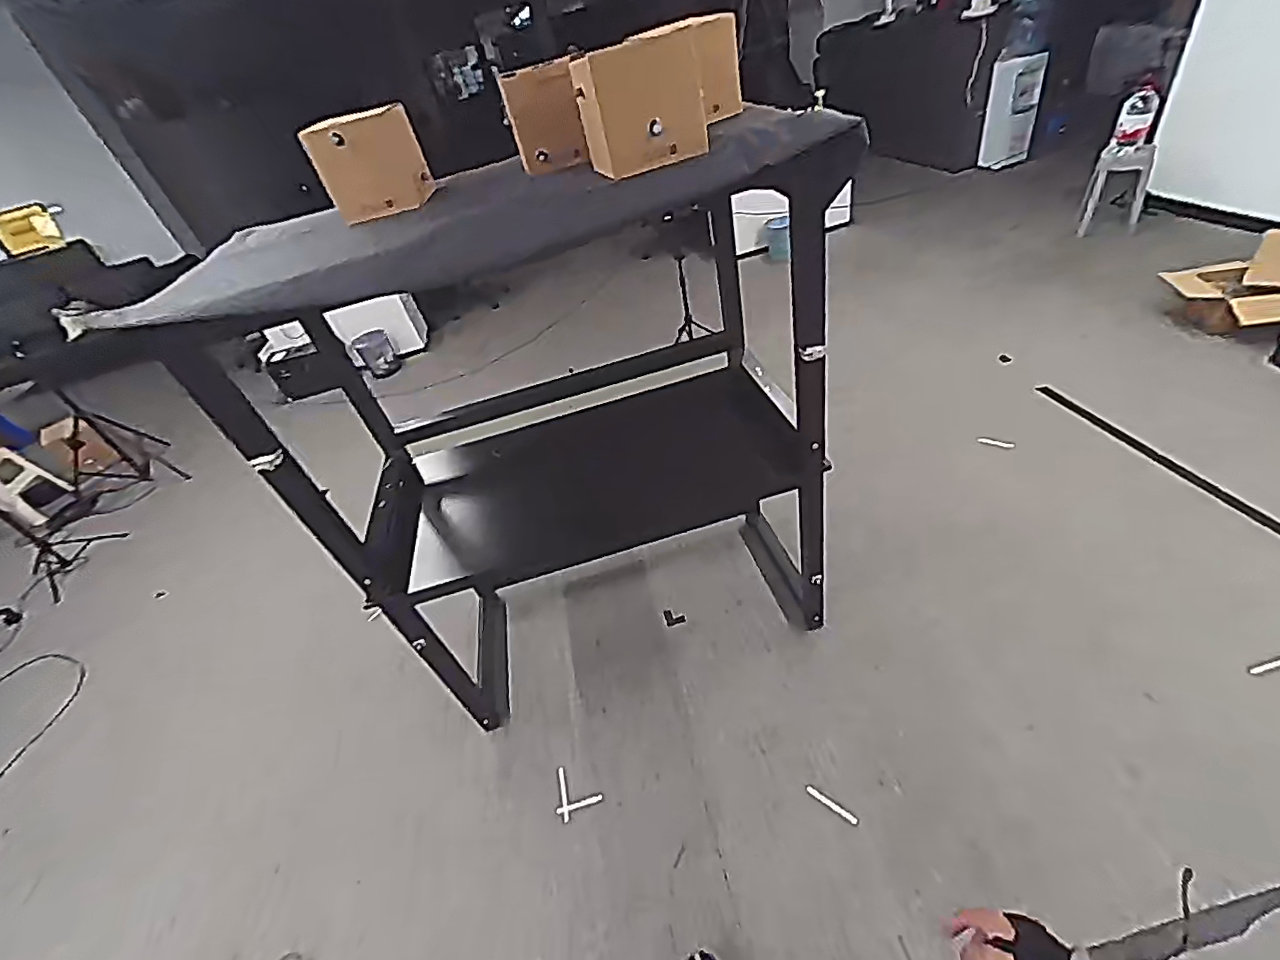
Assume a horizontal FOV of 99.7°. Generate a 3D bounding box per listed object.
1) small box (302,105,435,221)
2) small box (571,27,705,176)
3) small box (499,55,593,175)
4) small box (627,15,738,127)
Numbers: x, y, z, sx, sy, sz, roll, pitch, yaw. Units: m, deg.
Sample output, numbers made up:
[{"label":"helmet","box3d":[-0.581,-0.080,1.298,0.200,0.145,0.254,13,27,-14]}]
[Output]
[{"label":"small box","box3d":[-0.545,-0.653,1.117,0.168,0.176,0.179,-13,39,2]},{"label":"small box","box3d":[-0.003,-0.625,0.906,0.168,0.176,0.179,-20,38,-5]},{"label":"small box","box3d":[-0.178,-0.743,1.107,0.168,0.176,0.179,-18,39,-4]},{"label":"small box","box3d":[0.090,-0.841,1.133,0.168,0.176,0.179,-25,42,-10]}]
